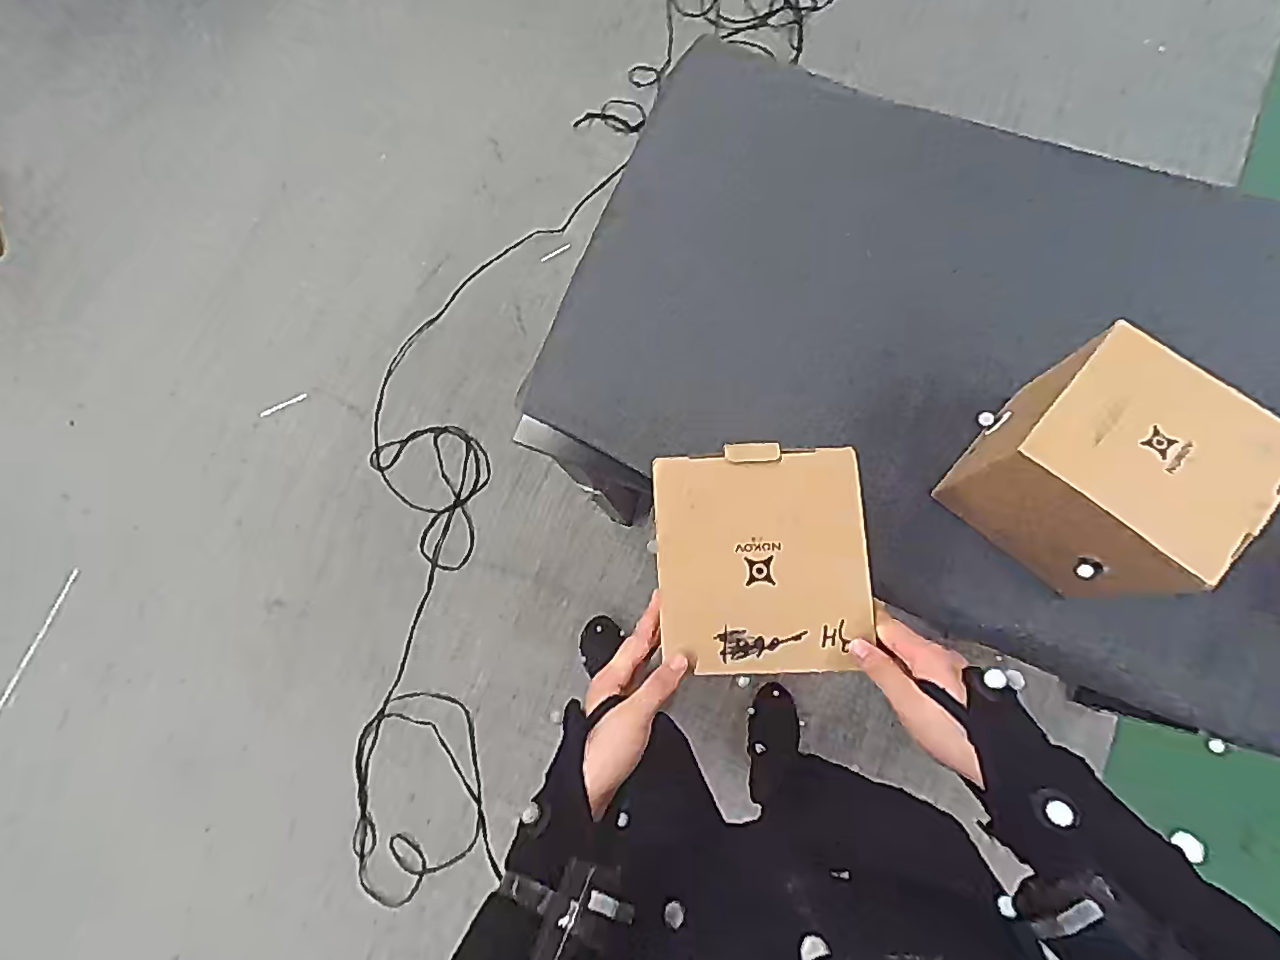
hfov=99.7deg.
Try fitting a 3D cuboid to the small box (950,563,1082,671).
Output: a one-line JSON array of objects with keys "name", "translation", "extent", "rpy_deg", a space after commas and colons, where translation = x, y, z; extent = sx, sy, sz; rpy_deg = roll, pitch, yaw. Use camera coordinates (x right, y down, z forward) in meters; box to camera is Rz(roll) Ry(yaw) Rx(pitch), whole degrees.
[{"name": "small box", "translation": [0.802, 0.293, 1.173], "extent": [0.168, 0.176, 0.179], "rpy_deg": [16, 79, 8]}]

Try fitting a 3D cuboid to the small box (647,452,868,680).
[{"name": "small box", "translation": [0.096, 0.079, 0.508], "extent": [0.168, 0.176, 0.179], "rpy_deg": [-4, 81, 5]}]

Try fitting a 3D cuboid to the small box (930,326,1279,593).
[{"name": "small box", "translation": [0.434, -0.006, 0.528], "extent": [0.179, 0.176, 0.168], "rpy_deg": [41, 81, 14]}]
